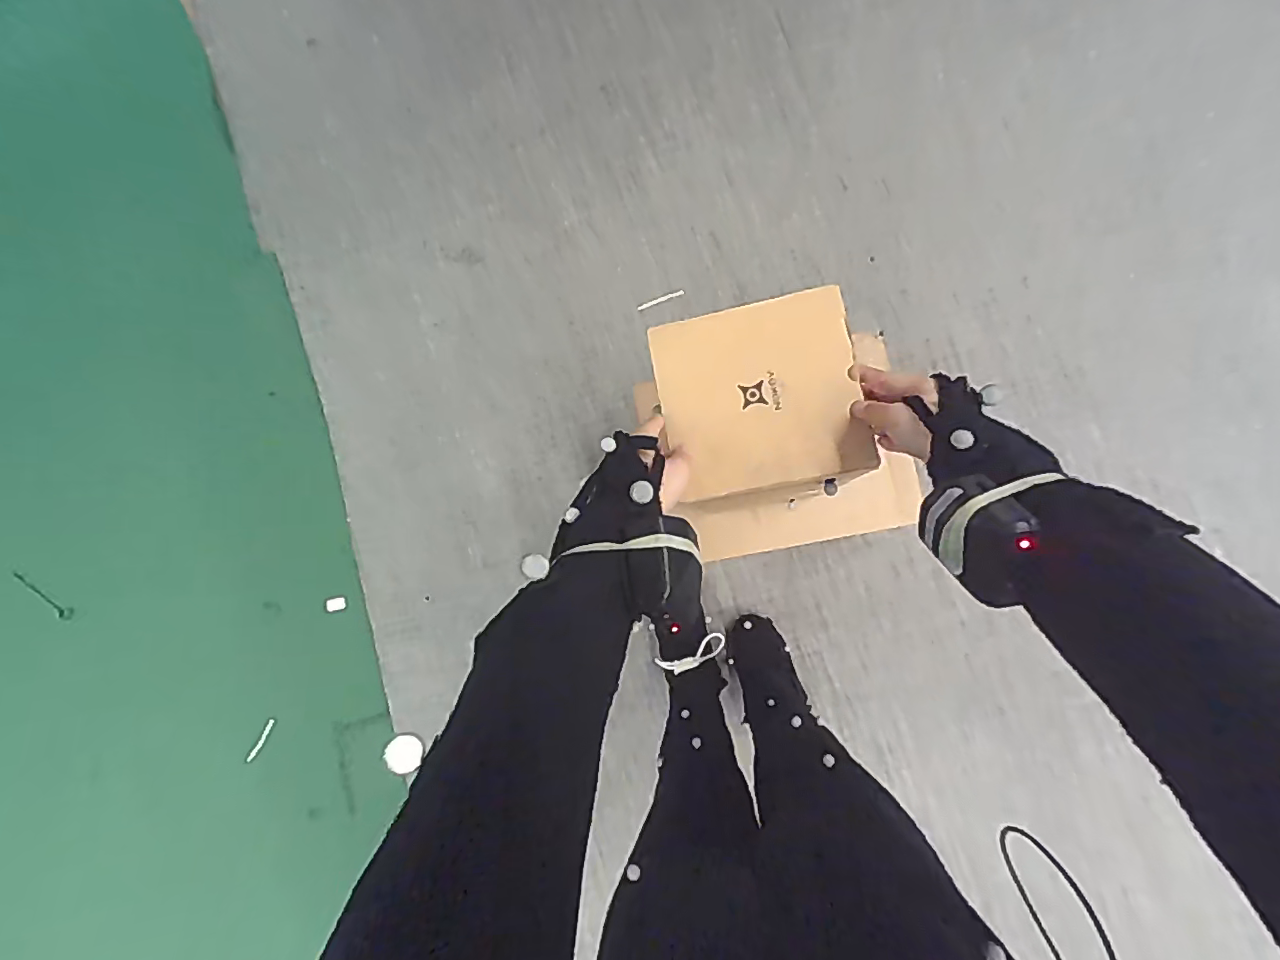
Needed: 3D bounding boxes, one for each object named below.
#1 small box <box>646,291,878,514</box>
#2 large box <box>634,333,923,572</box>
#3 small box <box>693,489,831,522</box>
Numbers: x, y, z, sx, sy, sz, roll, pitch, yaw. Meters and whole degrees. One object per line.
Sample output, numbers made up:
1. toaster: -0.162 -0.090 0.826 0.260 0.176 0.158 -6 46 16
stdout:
1. small box: 0.116 -0.062 0.553 0.179 0.176 0.168 -12 82 7
2. large box: 0.229 -0.029 1.008 0.408 0.320 0.320 -12 84 6
3. small box: 0.154 -0.036 0.773 0.179 0.176 0.168 -11 82 8
